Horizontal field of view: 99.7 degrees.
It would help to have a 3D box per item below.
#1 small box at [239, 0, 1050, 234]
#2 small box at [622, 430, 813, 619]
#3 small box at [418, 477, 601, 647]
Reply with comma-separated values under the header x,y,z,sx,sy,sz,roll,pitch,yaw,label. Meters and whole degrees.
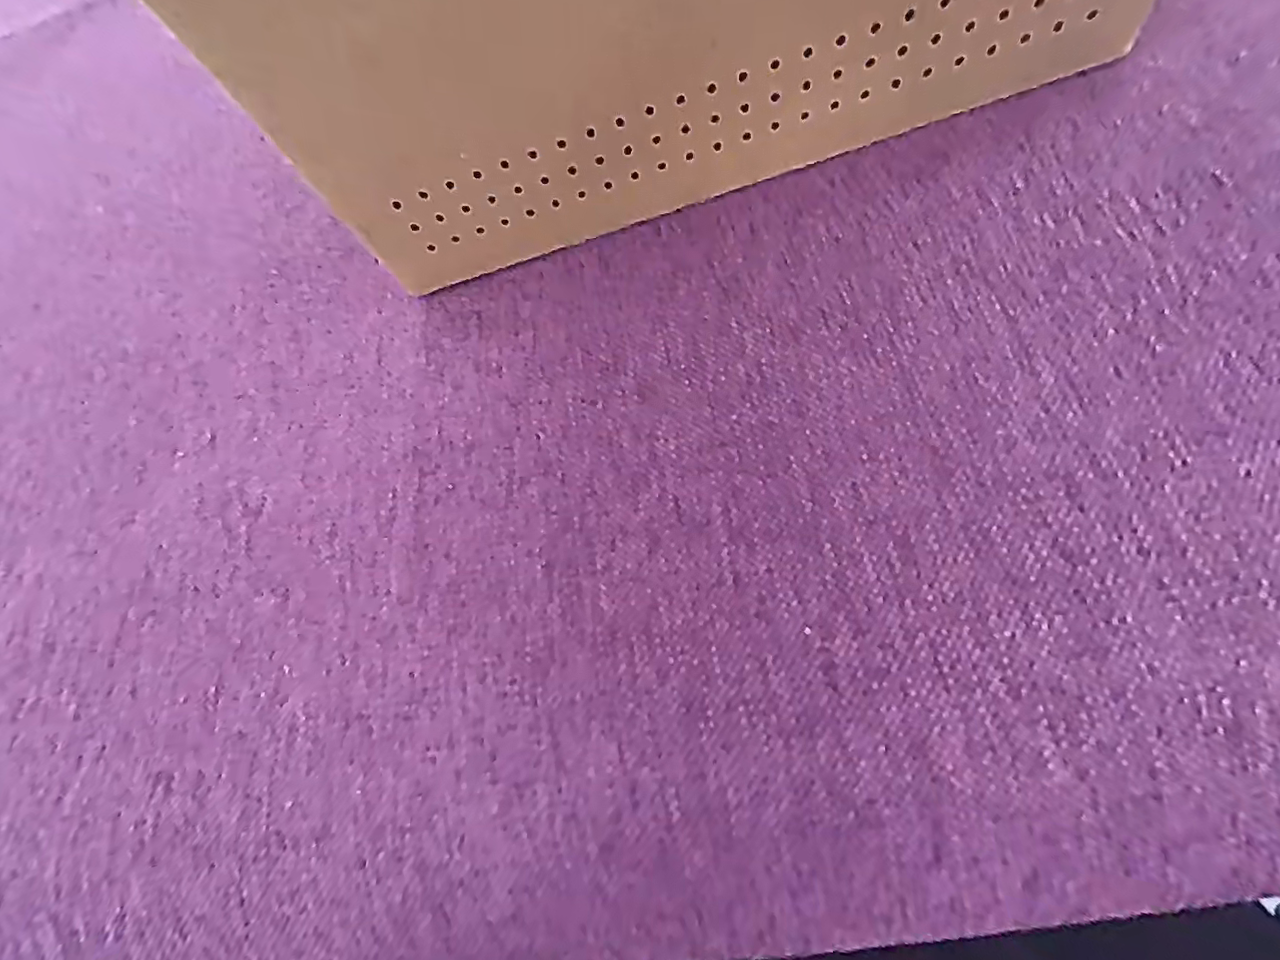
x,y,z,sx,sy,sz,roll,pitch,yaw,label
-0.005,-0.181,0.089,0.179,0.176,0.168,-15,66,8,small box
0.089,0.064,0.644,0.179,0.176,0.168,-12,69,5,small box
-0.157,0.114,0.697,0.179,0.176,0.168,-15,69,8,small box
